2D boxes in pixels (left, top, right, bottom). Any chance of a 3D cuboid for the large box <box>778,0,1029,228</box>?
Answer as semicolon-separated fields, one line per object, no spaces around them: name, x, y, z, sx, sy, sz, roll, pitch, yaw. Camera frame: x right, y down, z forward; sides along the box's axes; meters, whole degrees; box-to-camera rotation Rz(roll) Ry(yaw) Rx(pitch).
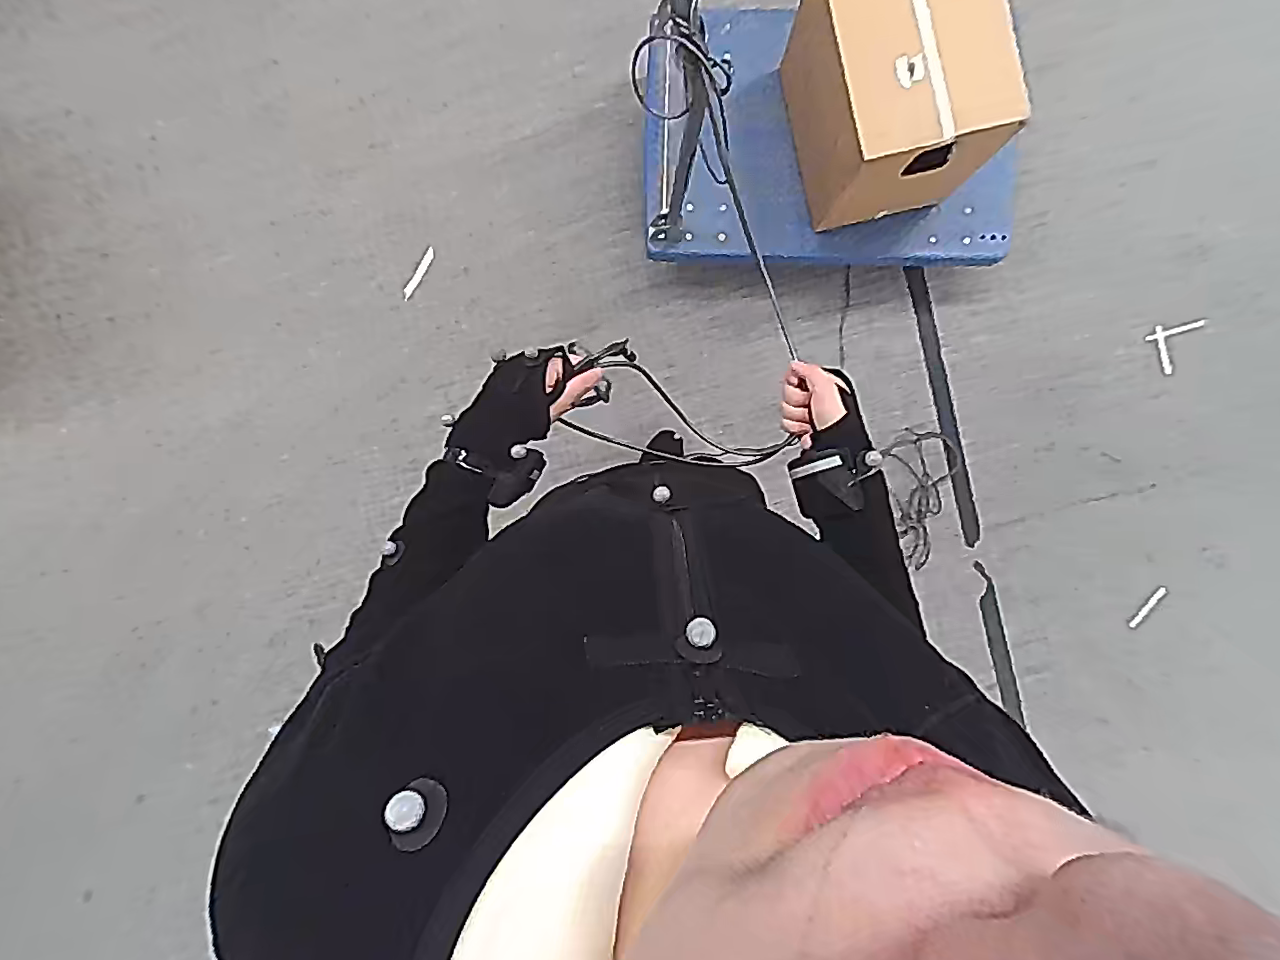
large box;0.512;-0.814;1.122;0.320;0.320;0.408;-13;93;3
